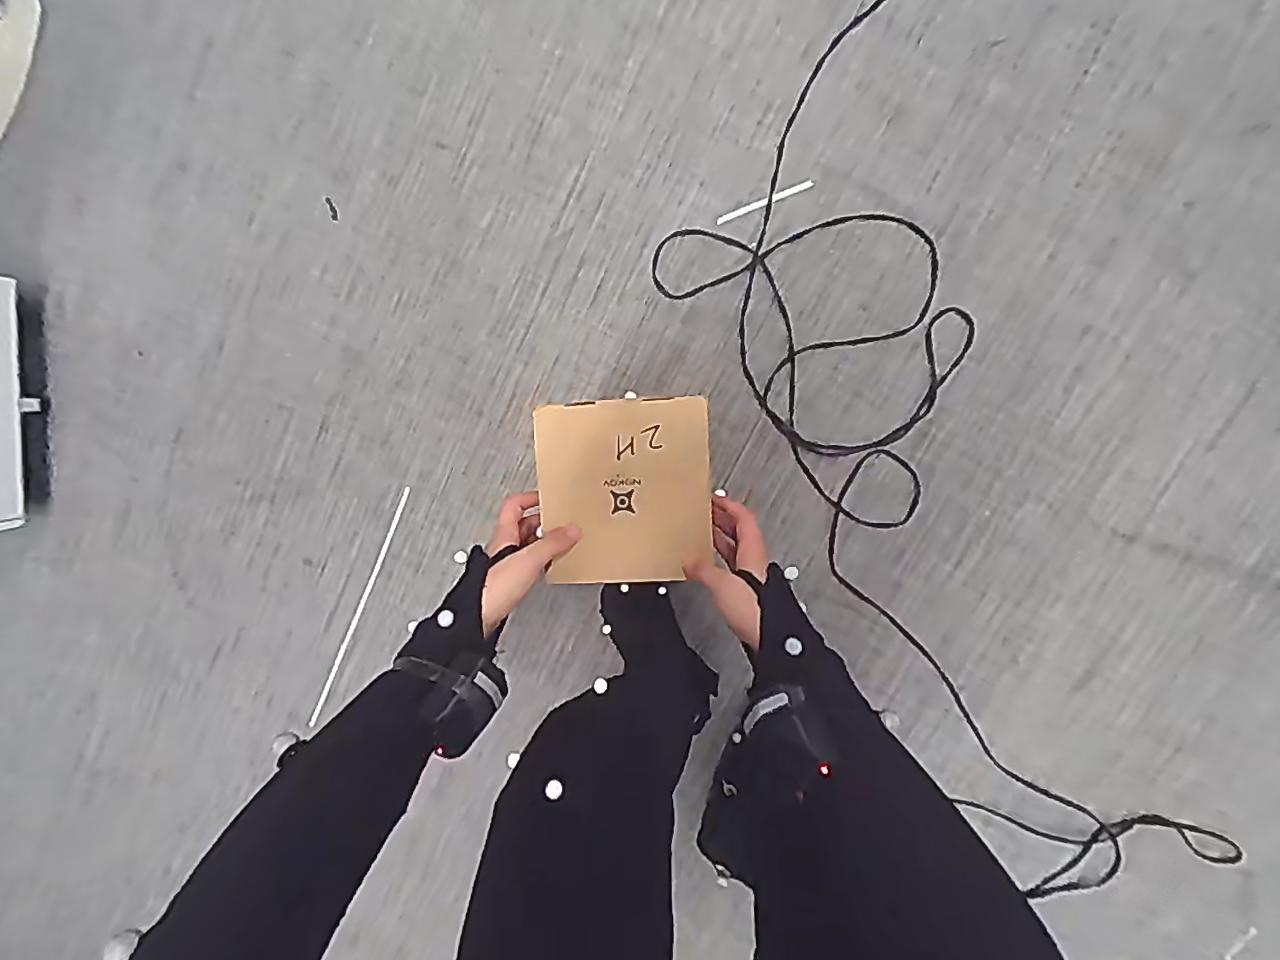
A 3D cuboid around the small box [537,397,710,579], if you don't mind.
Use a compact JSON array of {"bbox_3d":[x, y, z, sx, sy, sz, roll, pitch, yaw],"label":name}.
[{"bbox_3d":[-0.007,0.001,0.602,0.168,0.176,0.179,-3,95,5],"label":"small box"}]
